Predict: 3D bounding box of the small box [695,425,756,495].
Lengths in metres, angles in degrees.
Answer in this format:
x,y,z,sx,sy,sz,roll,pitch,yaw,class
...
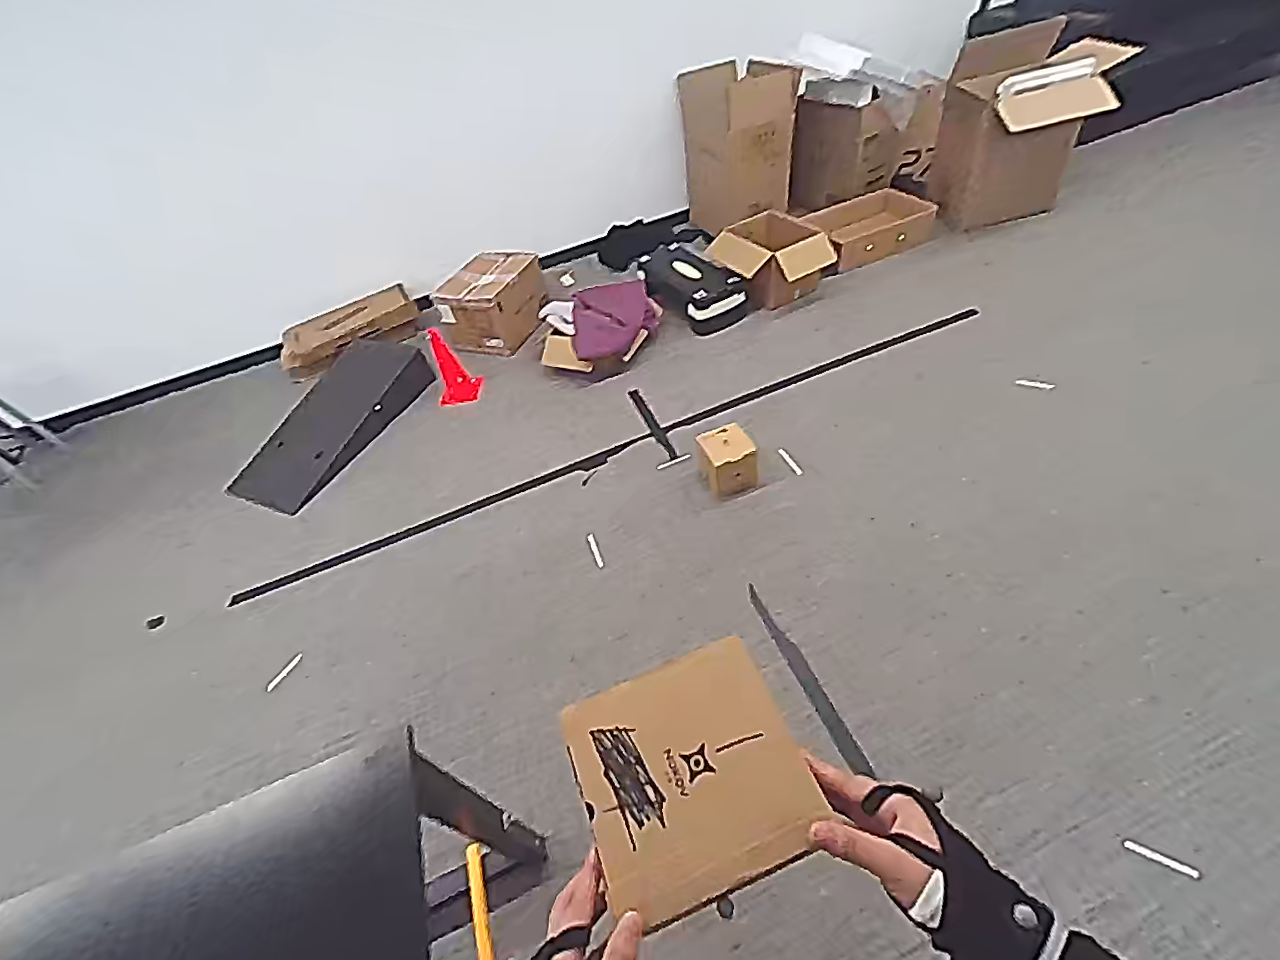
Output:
x,y,z,sx,sy,sz,roll,pitch,yaw,class
0.317,-0.066,1.982,0.168,0.176,0.179,-20,47,-6,small box

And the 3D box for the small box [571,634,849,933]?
x,y,z,sx,sy,sz,roll,pitch,yaw,class
0.058,0.275,0.490,0.179,0.176,0.168,-21,52,-7,small box
